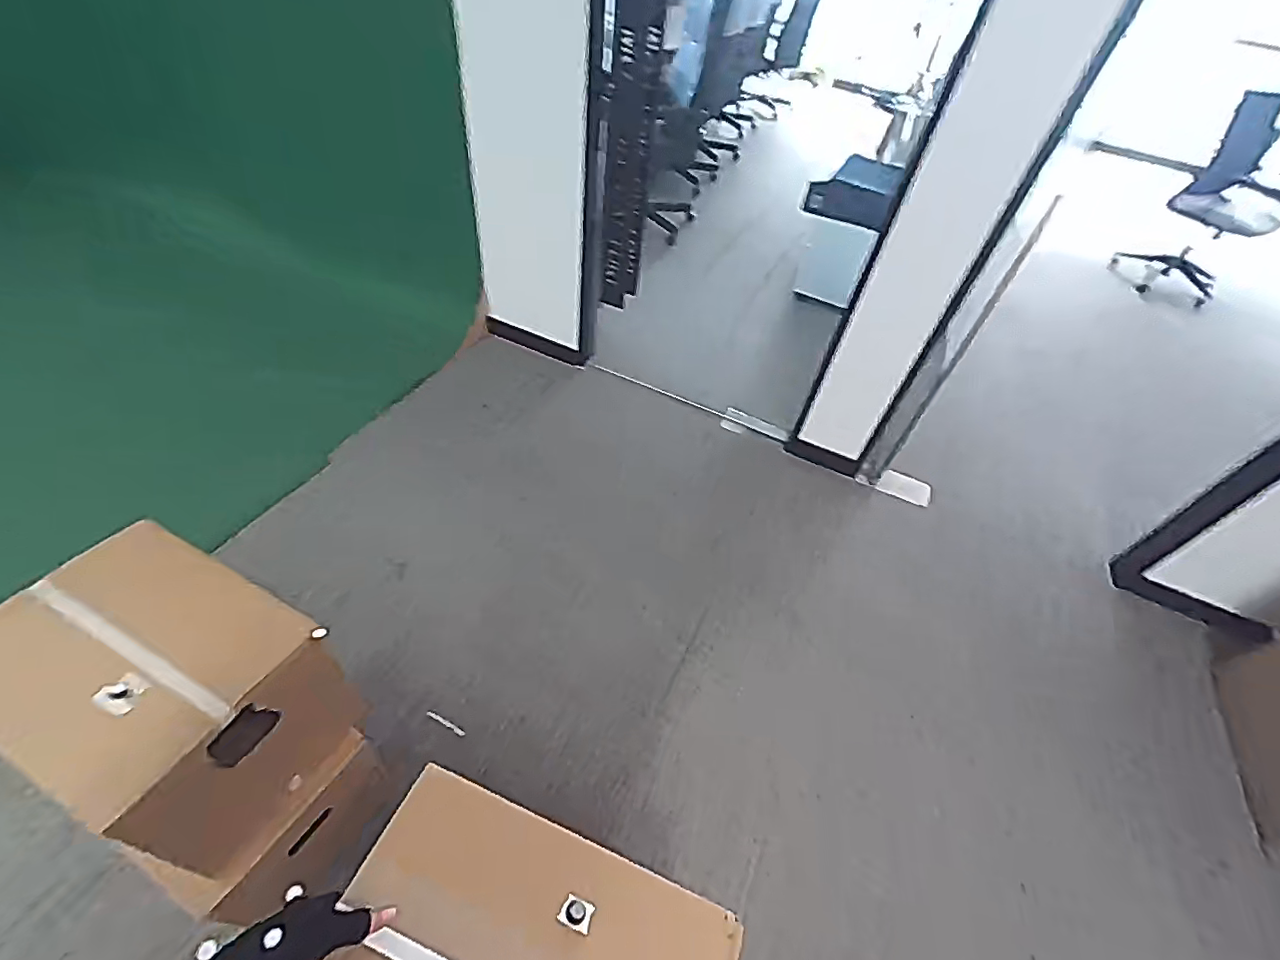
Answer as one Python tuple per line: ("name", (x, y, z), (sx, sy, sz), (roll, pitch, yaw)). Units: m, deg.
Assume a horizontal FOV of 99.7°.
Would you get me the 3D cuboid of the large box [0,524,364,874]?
("large box", (-0.745, 0.345, 0.884), (0.408, 0.320, 0.320), (25, 46, 13))
